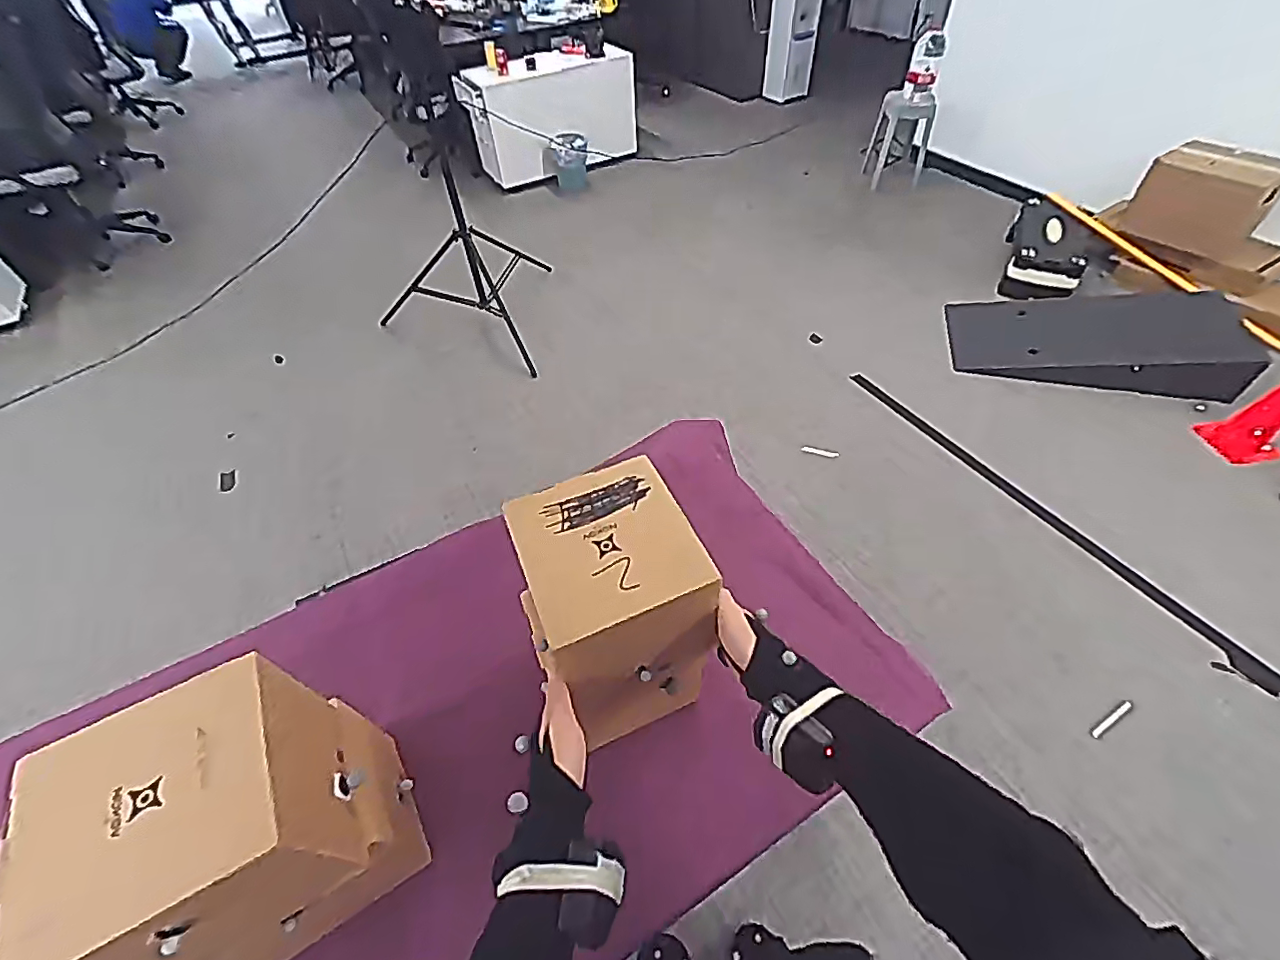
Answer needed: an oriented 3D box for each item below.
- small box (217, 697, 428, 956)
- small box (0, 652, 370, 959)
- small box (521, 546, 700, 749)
[{"bbox_3d":[-0.365,0.382,0.595,0.179,0.176,0.168,-27,54,-19],"label":"small box"},{"bbox_3d":[-0.366,0.287,0.463,0.179,0.176,0.168,-24,55,-18],"label":"small box"},{"bbox_3d":[-0.037,0.221,0.710,0.179,0.176,0.168,-20,51,-13],"label":"small box"}]
